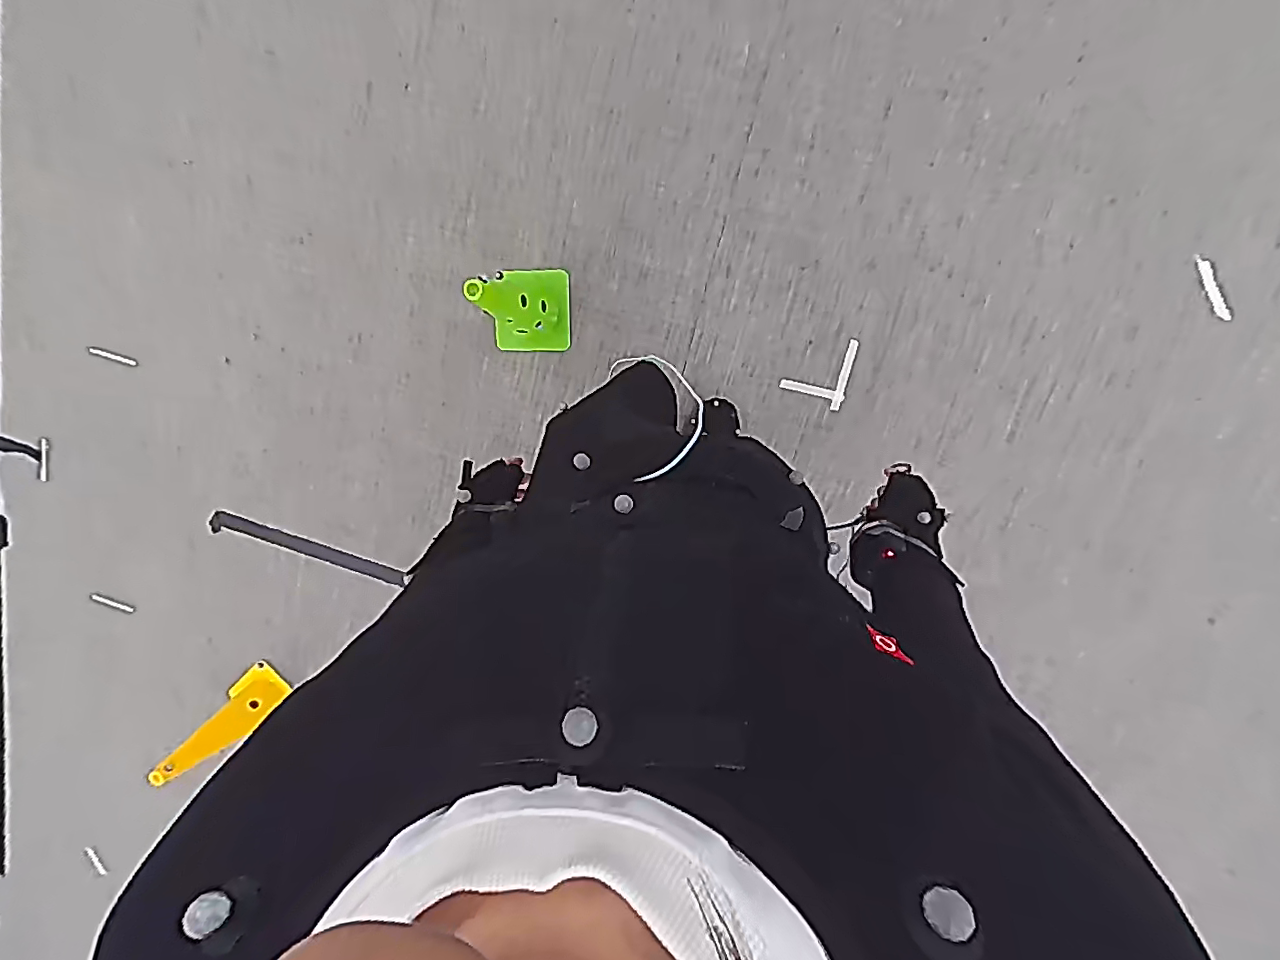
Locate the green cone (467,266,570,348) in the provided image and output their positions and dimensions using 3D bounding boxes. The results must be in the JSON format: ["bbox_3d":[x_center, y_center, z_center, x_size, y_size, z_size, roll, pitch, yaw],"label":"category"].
[{"bbox_3d":[-0.300,-0.406,1.220,0.202,0.368,0.200,1,102,7],"label":"green cone"}]

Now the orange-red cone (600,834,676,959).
[{"bbox_3d":[-0.032,1.236,1.508,0.199,0.360,0.198,24,103,4],"label":"orange-red cone"}]
